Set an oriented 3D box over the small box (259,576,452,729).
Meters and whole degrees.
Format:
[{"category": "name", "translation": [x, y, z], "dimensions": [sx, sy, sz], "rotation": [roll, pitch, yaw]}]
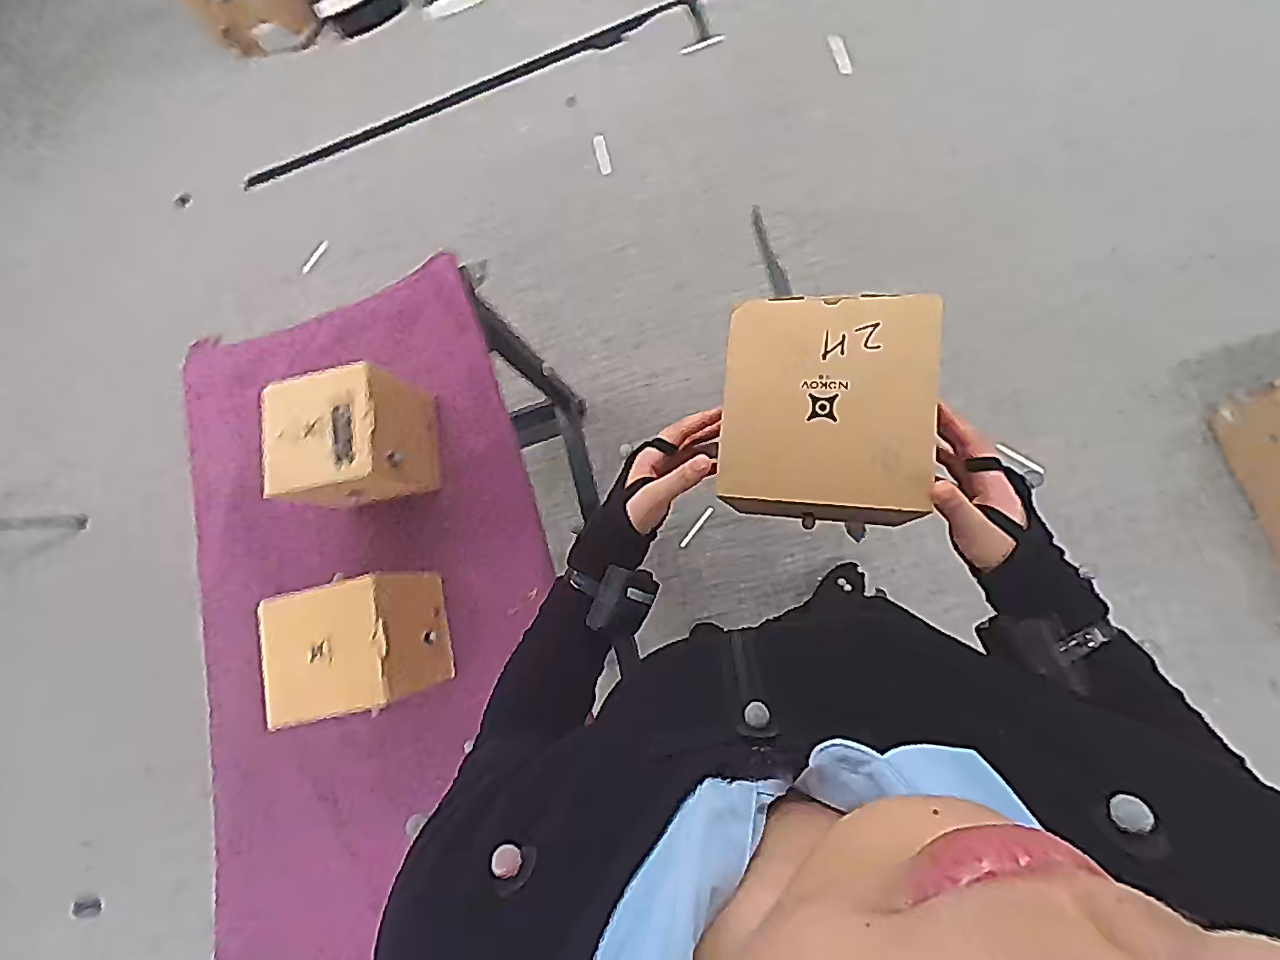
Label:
[{"category": "small box", "translation": [-0.402, 0.239, 0.781], "dimensions": [0.179, 0.176, 0.168], "rotation": [-15, 78, 8]}]
